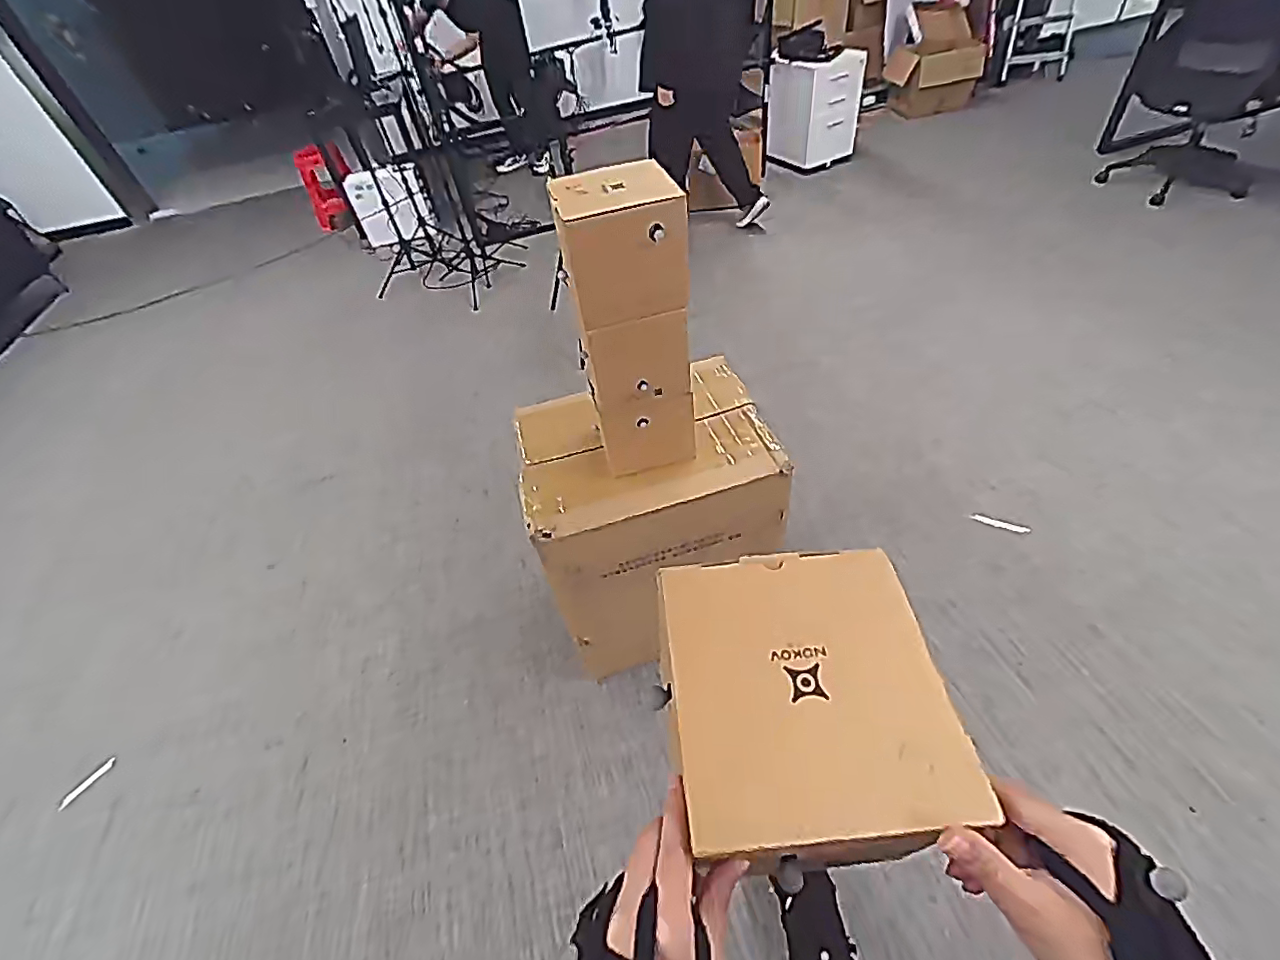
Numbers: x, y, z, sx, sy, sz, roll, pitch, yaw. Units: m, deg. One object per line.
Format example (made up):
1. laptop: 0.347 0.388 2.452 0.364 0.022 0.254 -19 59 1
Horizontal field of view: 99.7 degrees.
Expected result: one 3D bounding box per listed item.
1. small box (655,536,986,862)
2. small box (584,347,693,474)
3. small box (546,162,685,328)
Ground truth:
1. small box: 0.104 0.167 0.400 0.168 0.176 0.179 -6 48 0
2. small box: 0.000 -0.135 1.076 0.179 0.176 0.168 -15 47 -5
3. small box: -0.034 -0.362 0.839 0.179 0.176 0.168 -15 47 -5
